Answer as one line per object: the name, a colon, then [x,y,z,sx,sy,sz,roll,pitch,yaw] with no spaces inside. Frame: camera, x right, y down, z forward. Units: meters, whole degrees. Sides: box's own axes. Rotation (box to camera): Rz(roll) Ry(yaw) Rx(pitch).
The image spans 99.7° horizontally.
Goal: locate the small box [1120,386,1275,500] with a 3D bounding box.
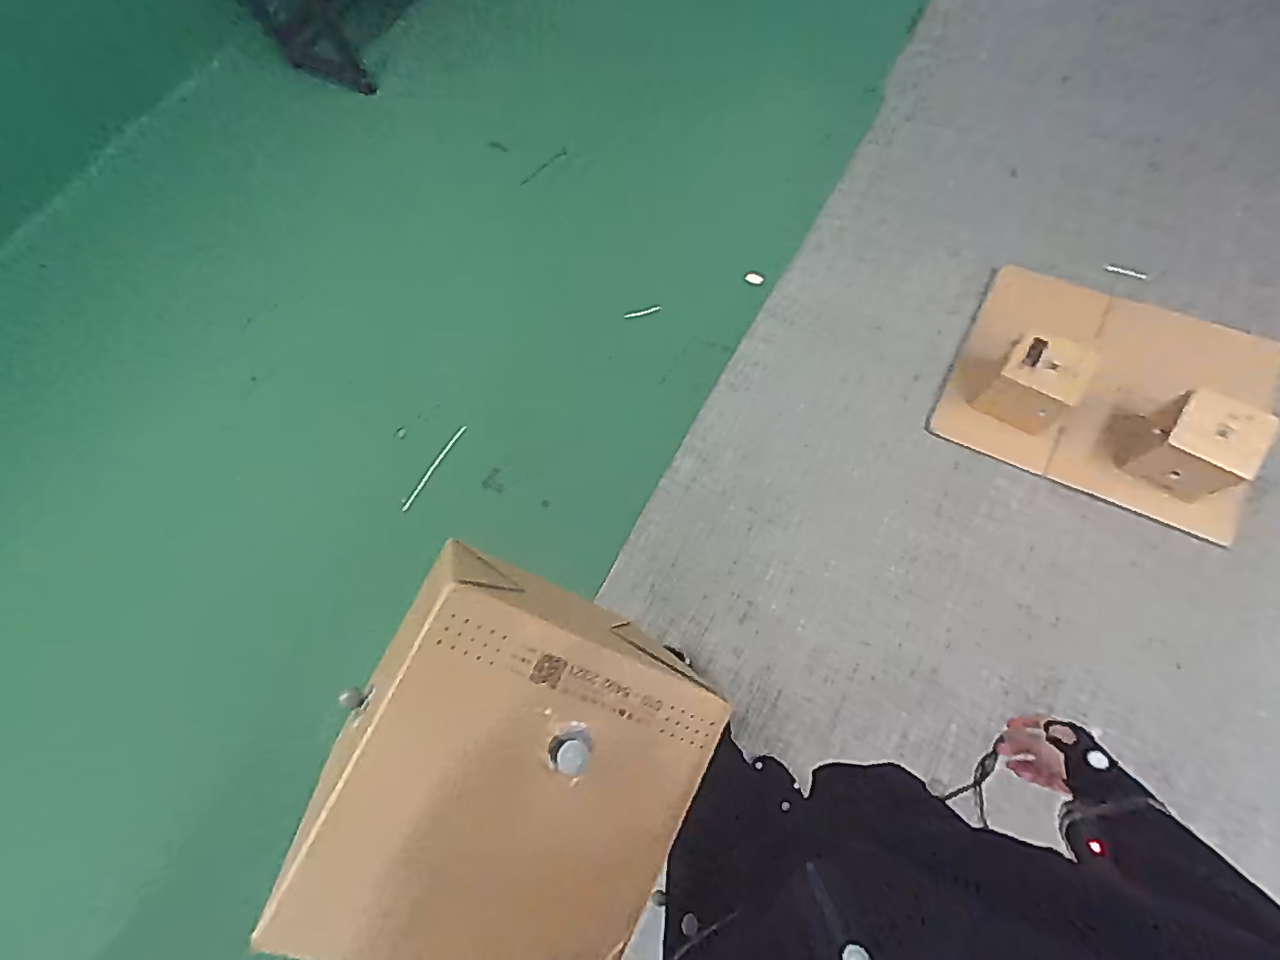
small box: [1.282,-0.079,1.261,0.168,0.176,0.179,34,77,18]
